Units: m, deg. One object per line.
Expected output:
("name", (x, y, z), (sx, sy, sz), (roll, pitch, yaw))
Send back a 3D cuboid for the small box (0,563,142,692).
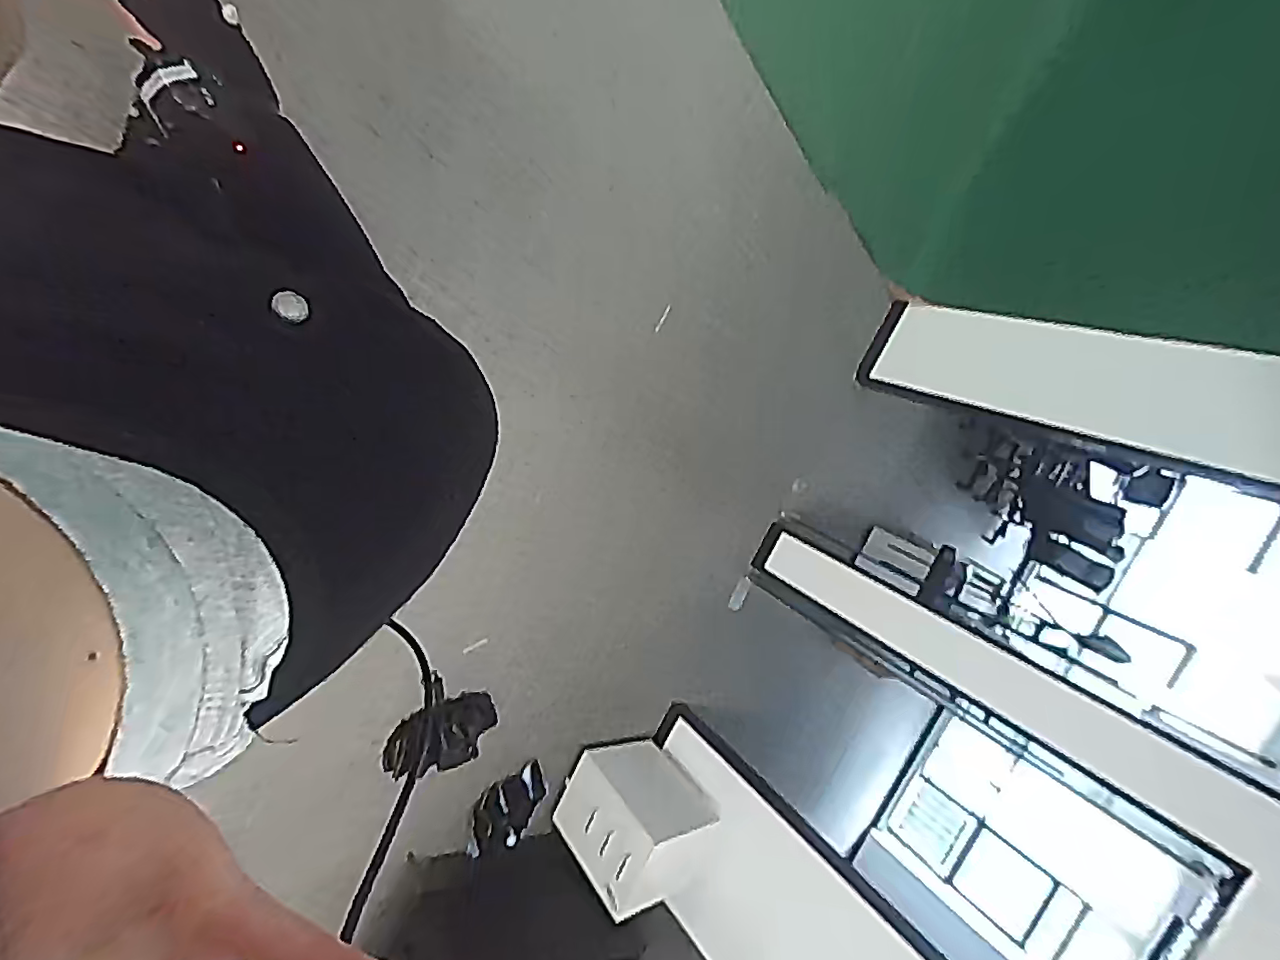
("small box", (-1.244, 0.317, 1.189), (0.168, 0.176, 0.179), (-32, 129, -28))
